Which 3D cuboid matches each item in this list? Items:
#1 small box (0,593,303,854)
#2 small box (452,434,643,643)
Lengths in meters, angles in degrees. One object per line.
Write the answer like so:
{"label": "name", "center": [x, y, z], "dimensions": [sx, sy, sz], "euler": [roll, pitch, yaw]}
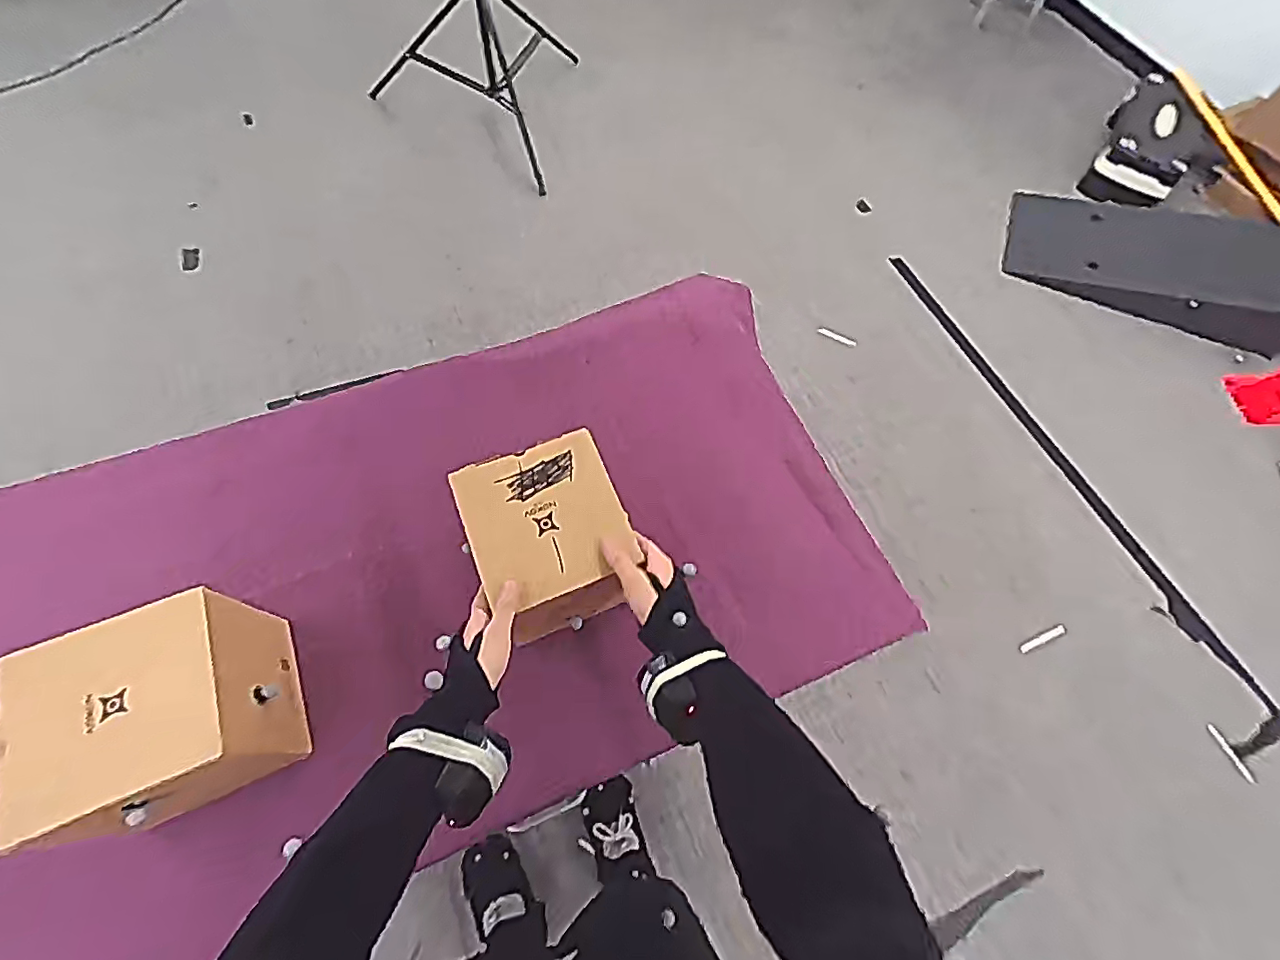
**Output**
{"label": "small box", "center": [-0.477, 0.239, 0.554], "dimensions": [0.179, 0.176, 0.168], "euler": [-21, 67, -13]}
{"label": "small box", "center": [-0.109, 0.077, 0.655], "dimensions": [0.168, 0.176, 0.179], "euler": [-20, 69, -12]}
